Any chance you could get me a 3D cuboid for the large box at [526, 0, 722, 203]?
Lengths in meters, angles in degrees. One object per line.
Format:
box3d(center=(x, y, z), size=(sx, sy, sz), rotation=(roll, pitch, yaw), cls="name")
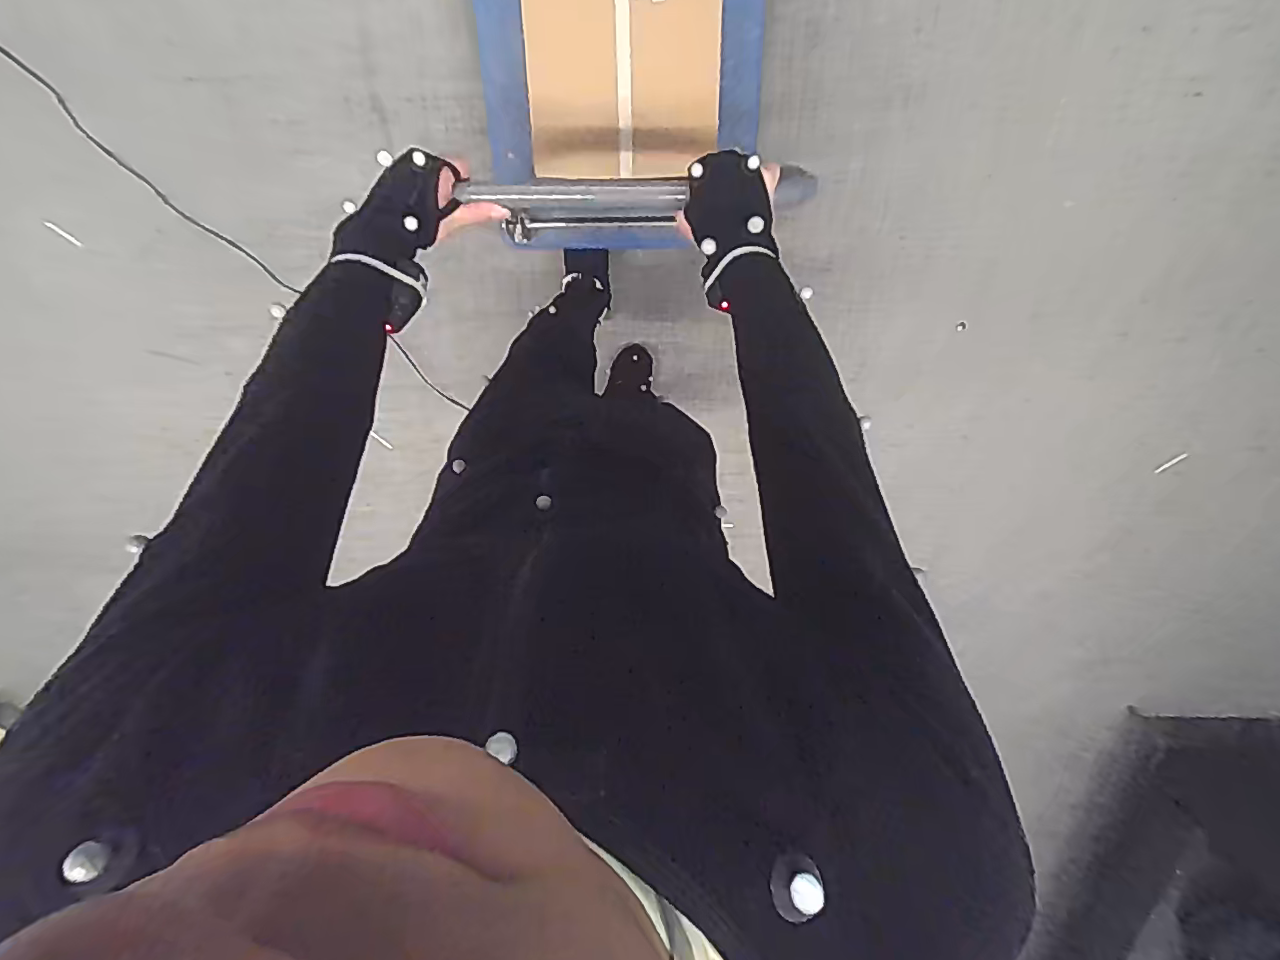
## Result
box3d(center=(-0.020, -0.758, 1.006), size=(0.320, 0.320, 0.408), rotation=(0, 112, 1), cls="large box")
